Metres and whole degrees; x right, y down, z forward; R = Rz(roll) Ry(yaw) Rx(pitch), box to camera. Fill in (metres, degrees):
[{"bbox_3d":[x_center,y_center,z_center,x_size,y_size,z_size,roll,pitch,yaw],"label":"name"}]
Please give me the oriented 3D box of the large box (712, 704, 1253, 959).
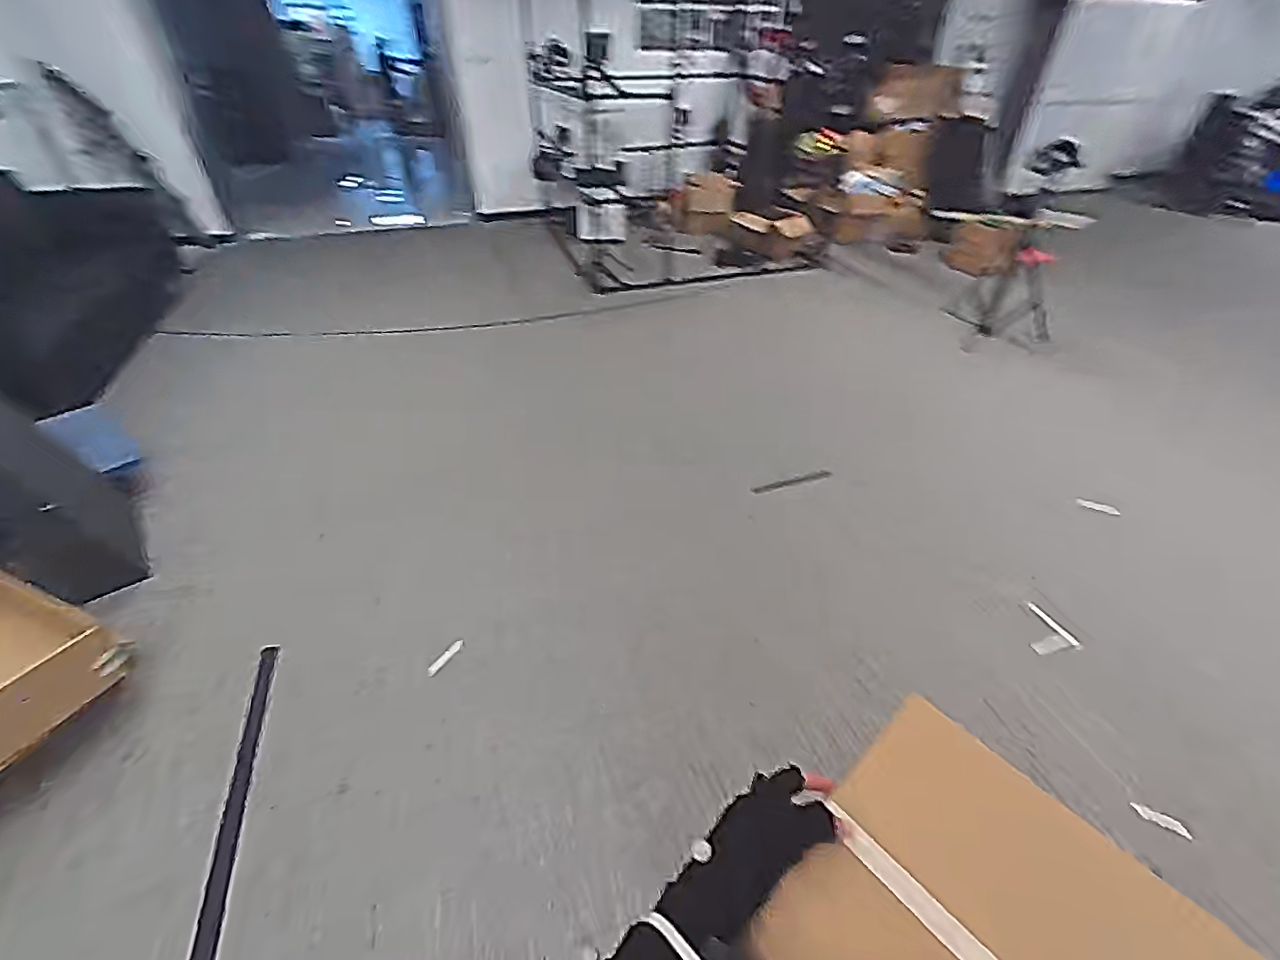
[{"bbox_3d":[0.313,0.511,0.506,0.320,0.320,0.408,-35,53,-24],"label":"large box"}]
